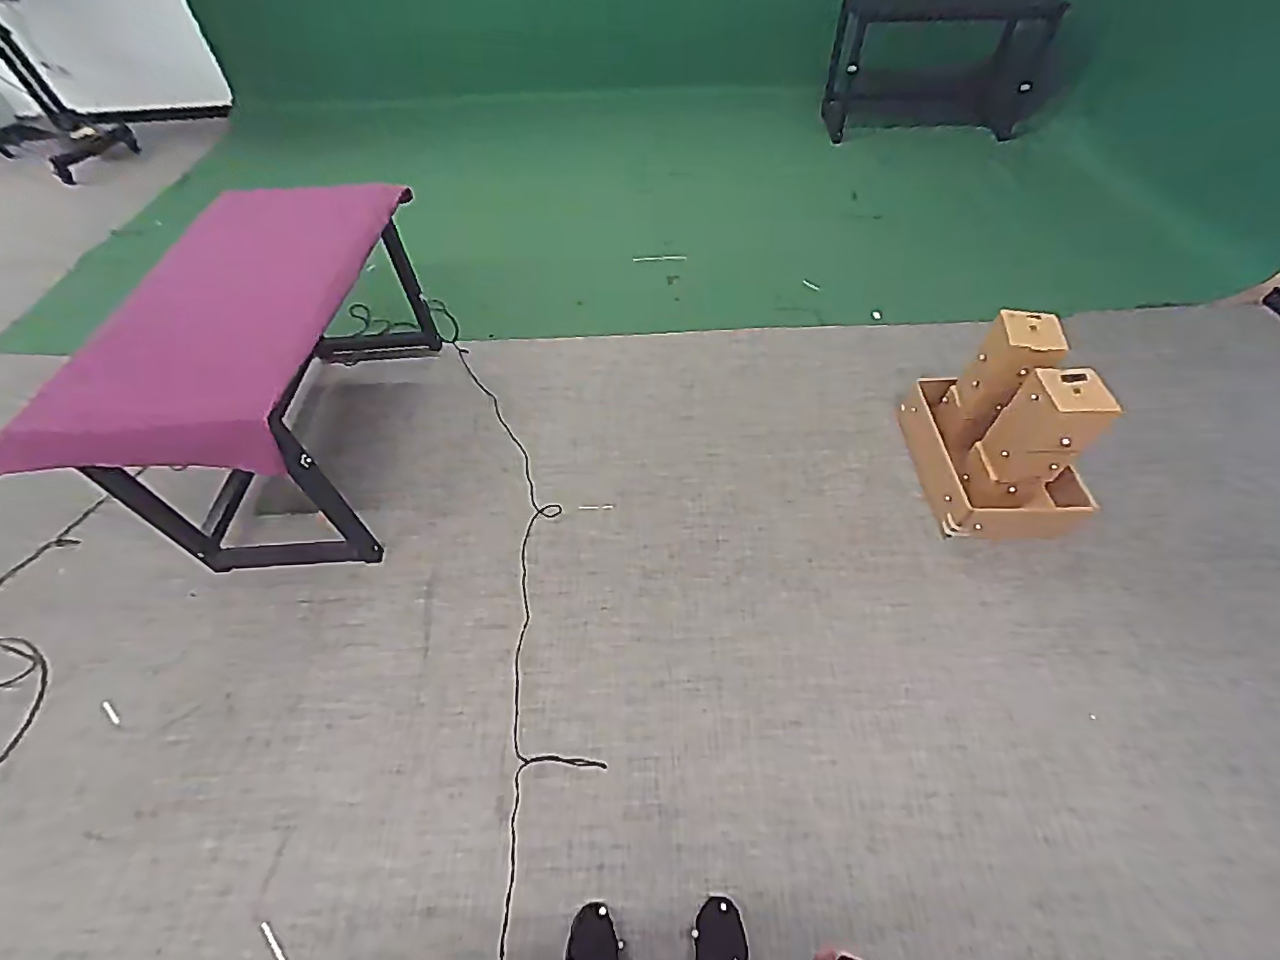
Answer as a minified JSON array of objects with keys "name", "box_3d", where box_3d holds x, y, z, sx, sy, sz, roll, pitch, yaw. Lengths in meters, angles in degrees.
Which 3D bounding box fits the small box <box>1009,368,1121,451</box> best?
[{"name":"small box","box_3d":[1.225,-0.206,1.577,0.168,0.176,0.179,0,53,3]}]

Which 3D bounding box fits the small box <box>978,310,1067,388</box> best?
[{"name":"small box","box_3d":[1.215,-0.417,1.734,0.168,0.176,0.179,9,56,9]}]
